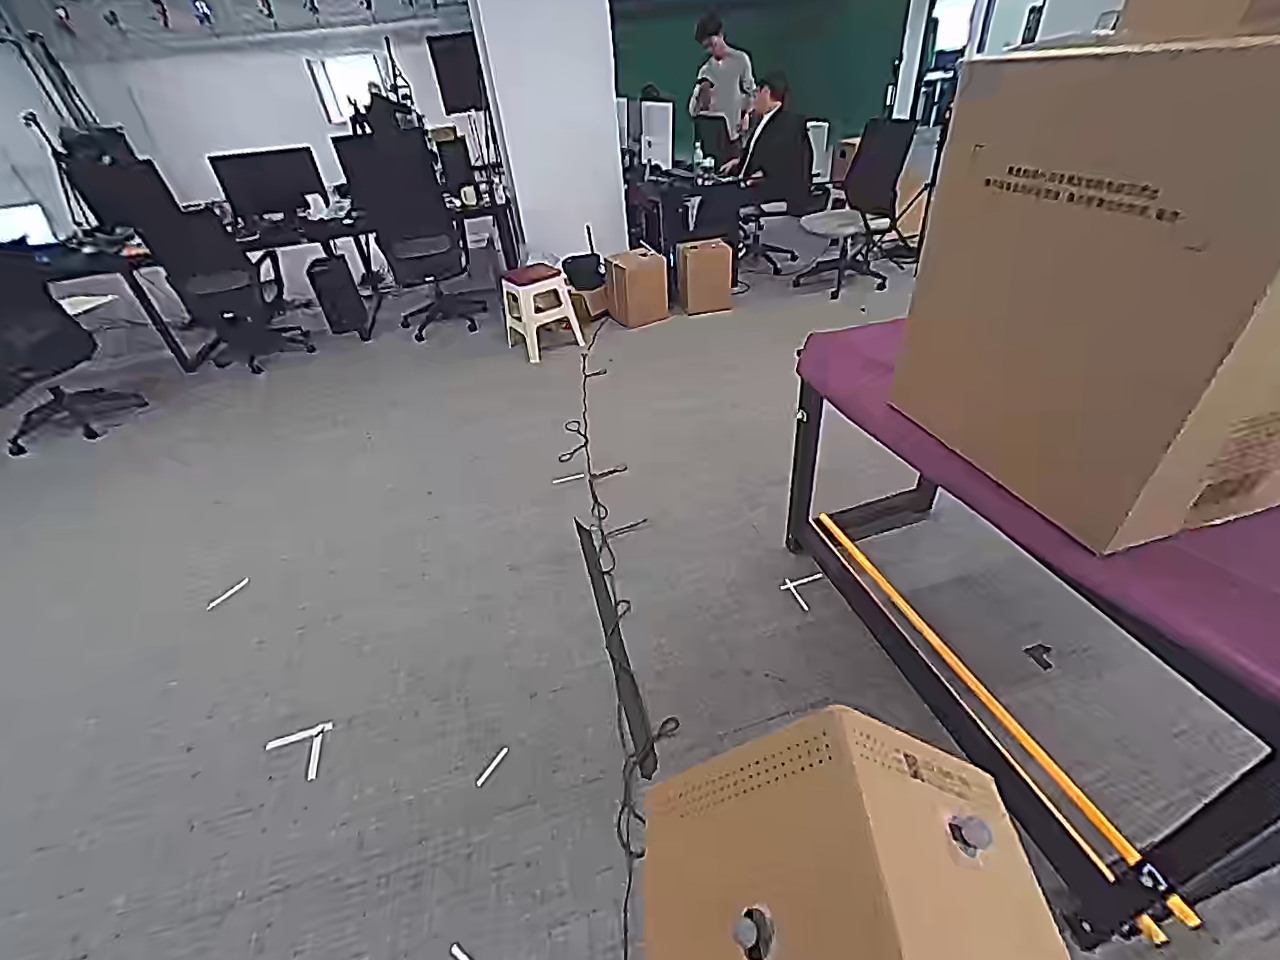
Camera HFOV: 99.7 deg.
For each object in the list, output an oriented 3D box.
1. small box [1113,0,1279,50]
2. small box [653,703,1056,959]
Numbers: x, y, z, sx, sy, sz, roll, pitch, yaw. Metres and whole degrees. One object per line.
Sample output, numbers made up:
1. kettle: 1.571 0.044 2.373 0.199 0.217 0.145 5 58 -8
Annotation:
1. small box: 0.812 -0.699 0.734 0.168 0.176 0.179 -15 39 -9
2. small box: 0.120 0.263 0.322 0.168 0.179 0.176 31 35 -24
